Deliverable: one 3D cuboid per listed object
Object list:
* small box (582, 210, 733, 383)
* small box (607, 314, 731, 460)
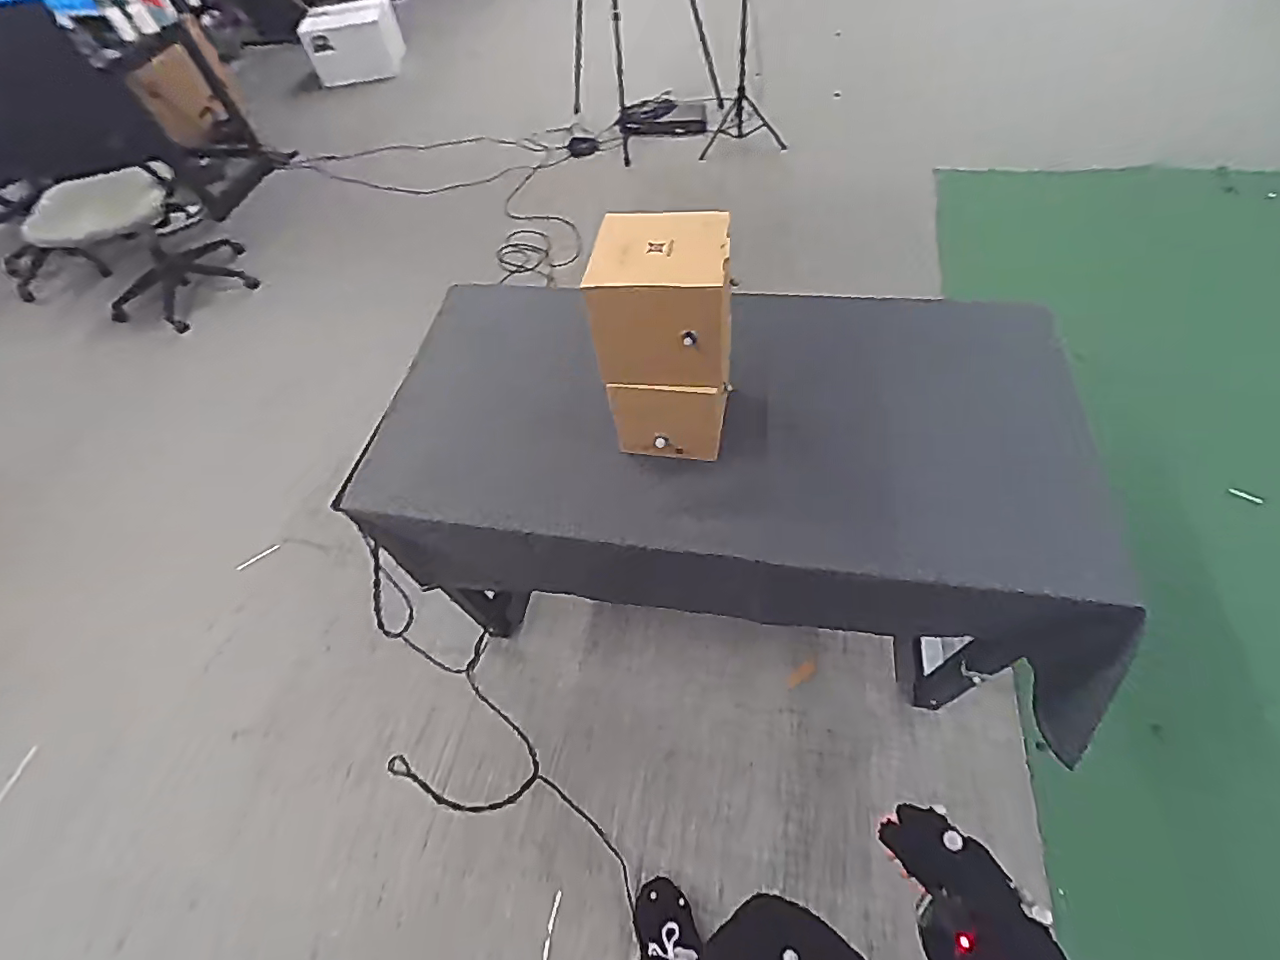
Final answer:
[{"bbox_3d":[0.034,-0.252,0.758,0.179,0.176,0.168,4,55,11],"label":"small box"},{"bbox_3d":[0.054,-0.157,0.889,0.168,0.176,0.179,6,57,12],"label":"small box"}]
